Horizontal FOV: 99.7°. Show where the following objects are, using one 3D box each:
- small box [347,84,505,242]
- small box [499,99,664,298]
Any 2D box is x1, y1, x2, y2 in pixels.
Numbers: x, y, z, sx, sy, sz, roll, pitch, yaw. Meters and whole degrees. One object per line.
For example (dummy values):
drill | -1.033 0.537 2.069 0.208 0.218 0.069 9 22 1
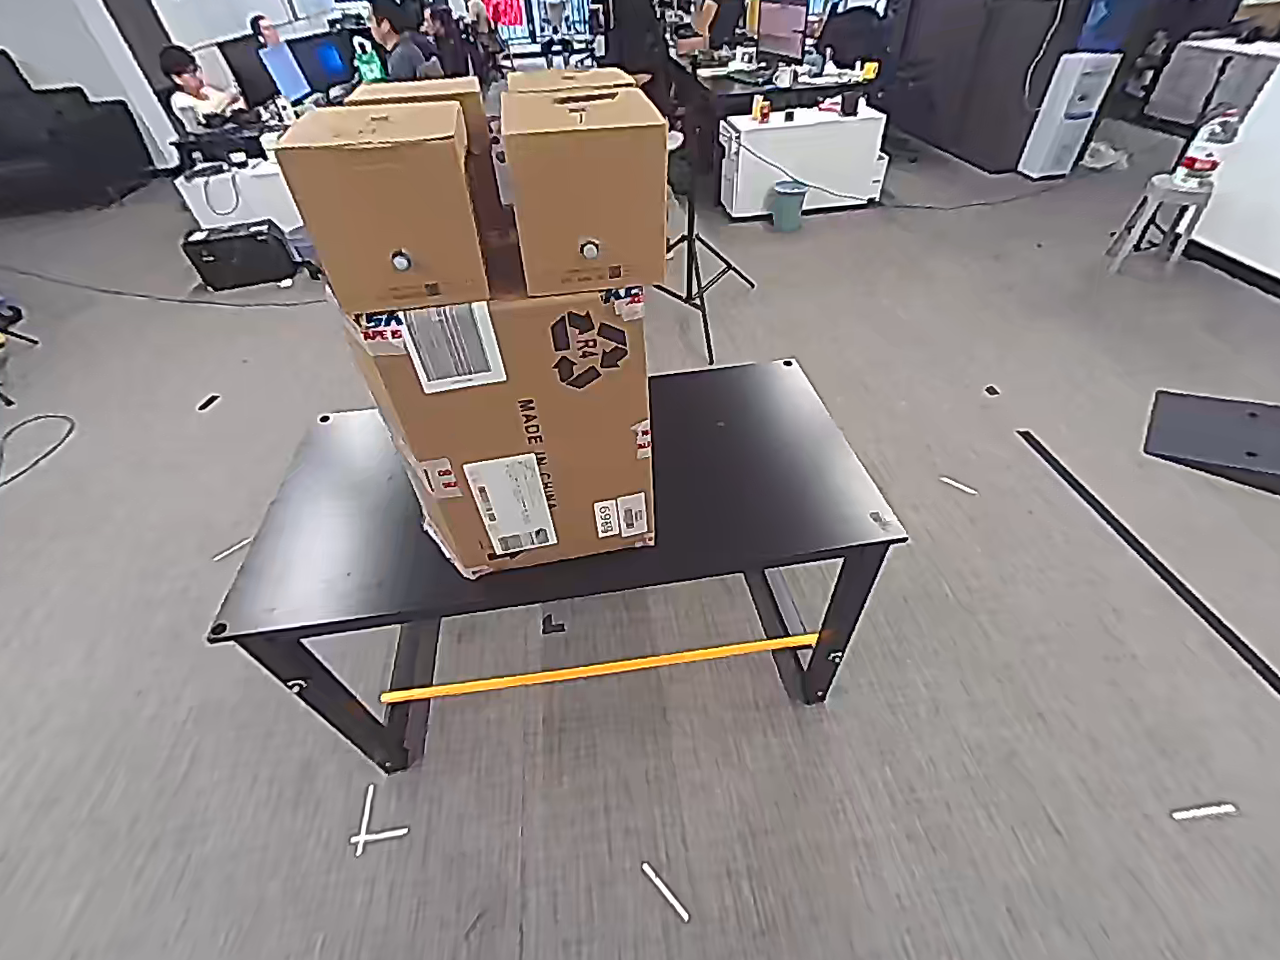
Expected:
small box | -0.300 -0.465 0.792 0.168 0.176 0.179 -12 43 -9
small box | -0.069 -0.337 0.648 0.168 0.176 0.179 -8 45 -6
